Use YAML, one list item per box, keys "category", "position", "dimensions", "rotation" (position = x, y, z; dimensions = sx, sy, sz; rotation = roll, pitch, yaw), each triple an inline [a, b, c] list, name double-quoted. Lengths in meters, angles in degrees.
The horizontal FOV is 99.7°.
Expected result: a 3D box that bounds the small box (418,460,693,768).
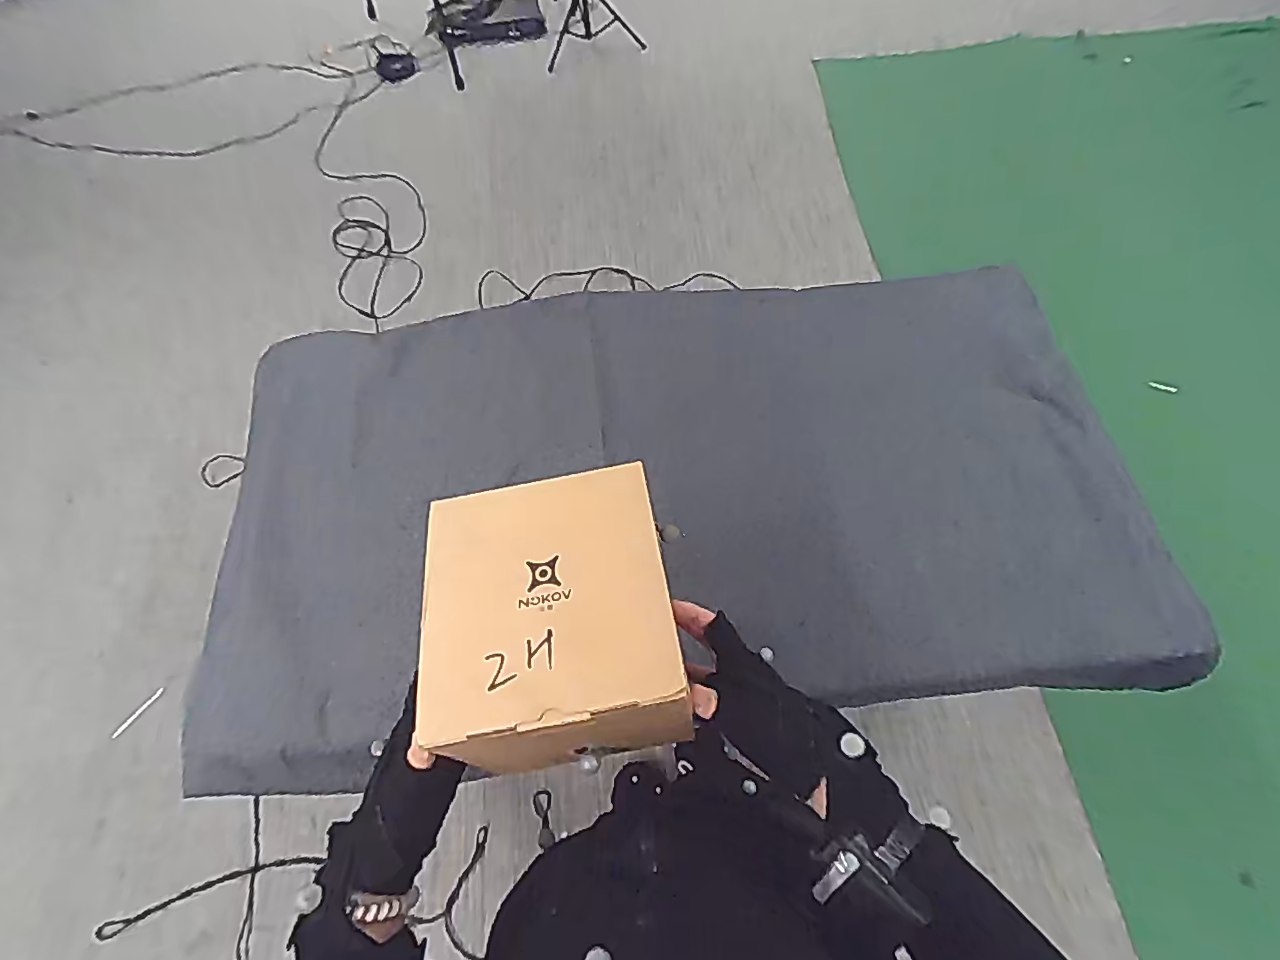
- category: "small box"
  position: [-0.055, 0.113, 0.431]
  dimensions: [0.168, 0.176, 0.179]
  rotation: [-11, 57, 0]
